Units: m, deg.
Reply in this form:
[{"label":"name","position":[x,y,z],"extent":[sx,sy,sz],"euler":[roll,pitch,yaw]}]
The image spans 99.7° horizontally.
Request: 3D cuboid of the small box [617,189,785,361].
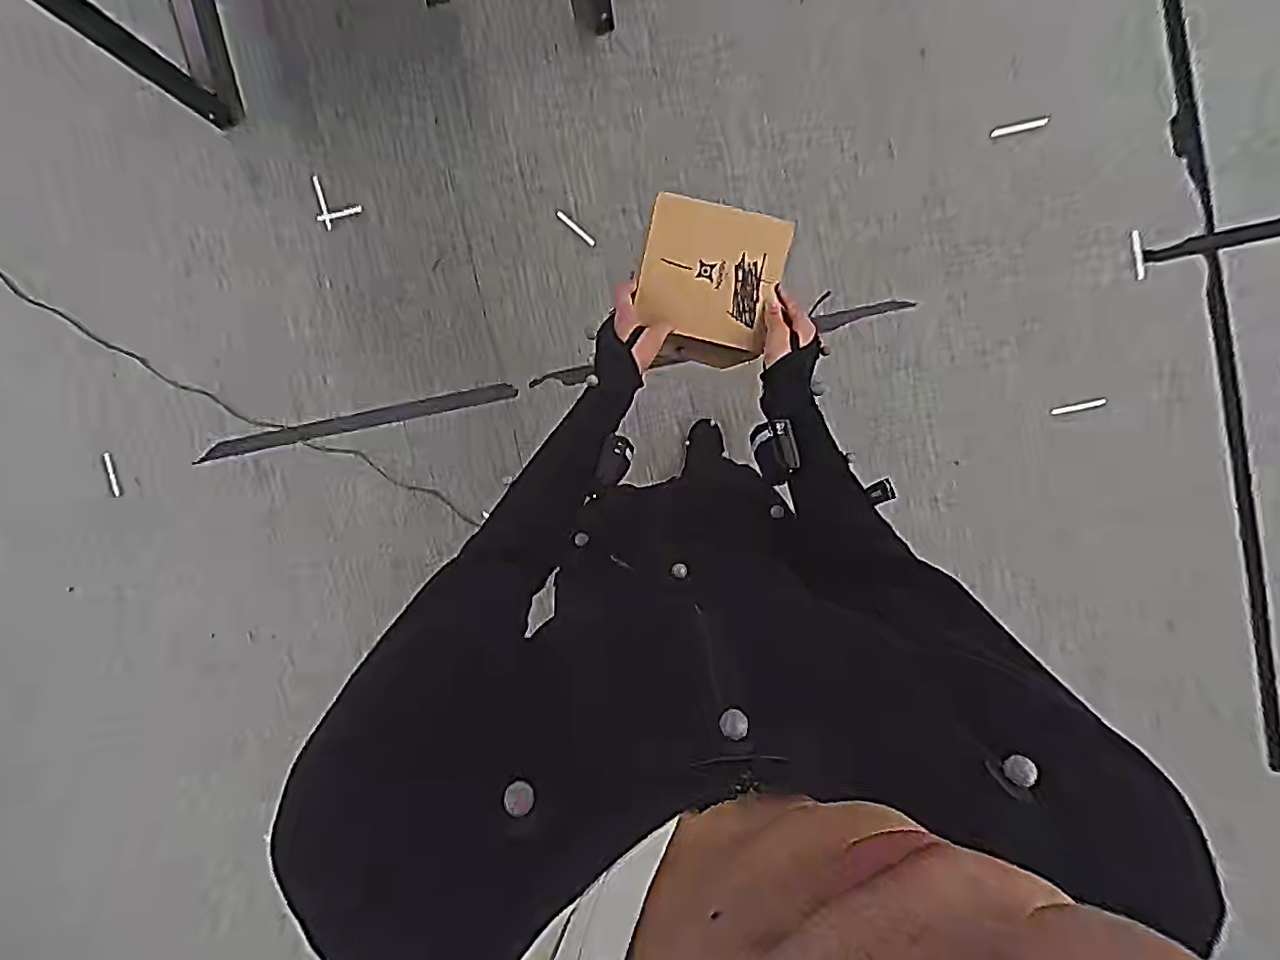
[{"label":"small box","position":[0.072,-0.267,0.750],"extent":[0.179,0.176,0.168],"euler":[11,95,-7]}]
